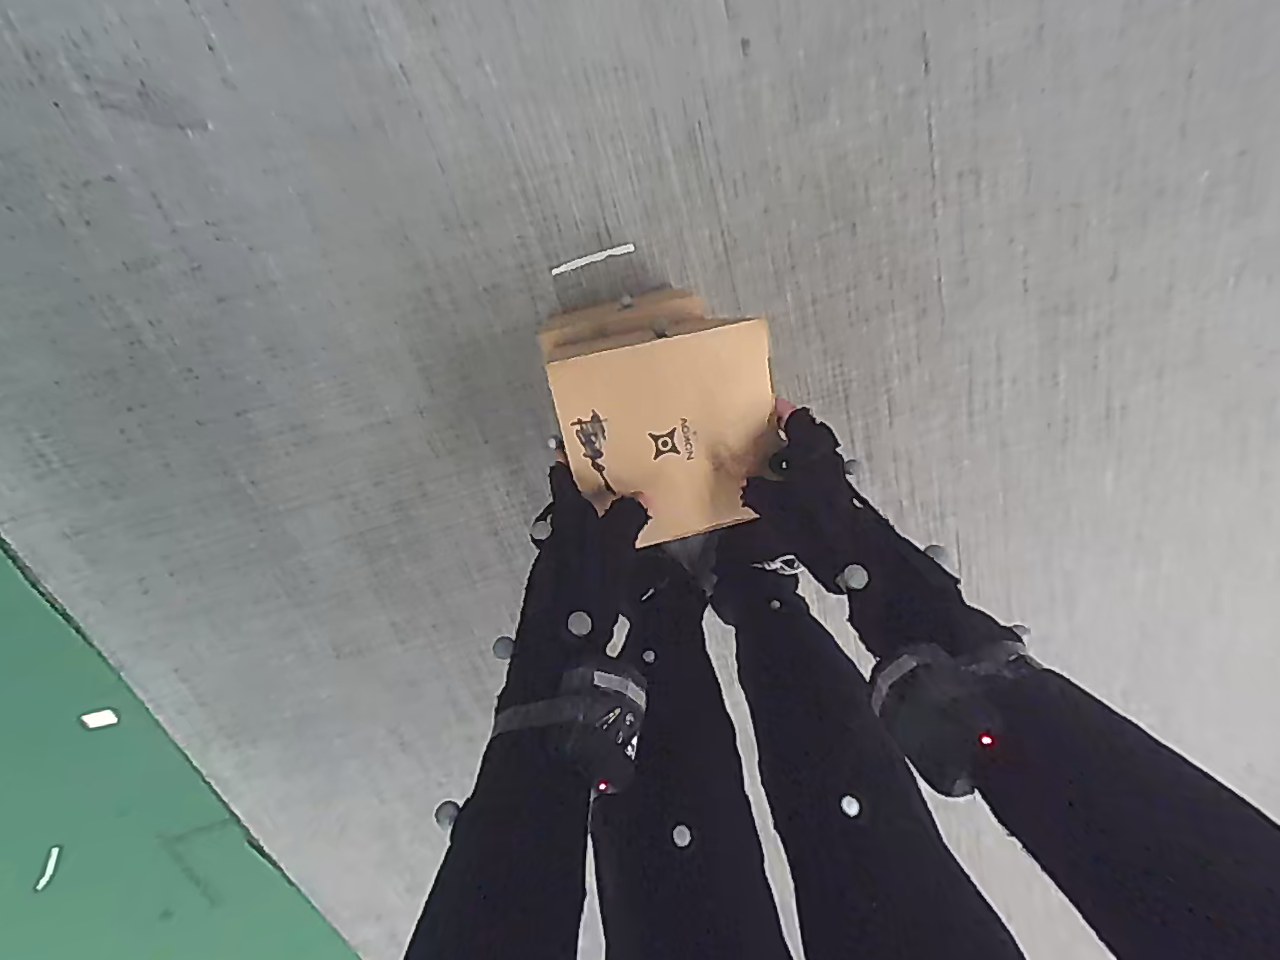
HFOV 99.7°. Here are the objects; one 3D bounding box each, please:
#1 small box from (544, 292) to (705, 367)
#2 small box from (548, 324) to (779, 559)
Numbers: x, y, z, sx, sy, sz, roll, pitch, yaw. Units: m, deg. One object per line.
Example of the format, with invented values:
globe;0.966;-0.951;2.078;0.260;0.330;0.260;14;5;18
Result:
small box;-0.010;-0.126;0.669;0.179;0.176;0.168;-17;113;0
small box;0.013;-0.050;0.516;0.179;0.176;0.168;-13;109;-5
